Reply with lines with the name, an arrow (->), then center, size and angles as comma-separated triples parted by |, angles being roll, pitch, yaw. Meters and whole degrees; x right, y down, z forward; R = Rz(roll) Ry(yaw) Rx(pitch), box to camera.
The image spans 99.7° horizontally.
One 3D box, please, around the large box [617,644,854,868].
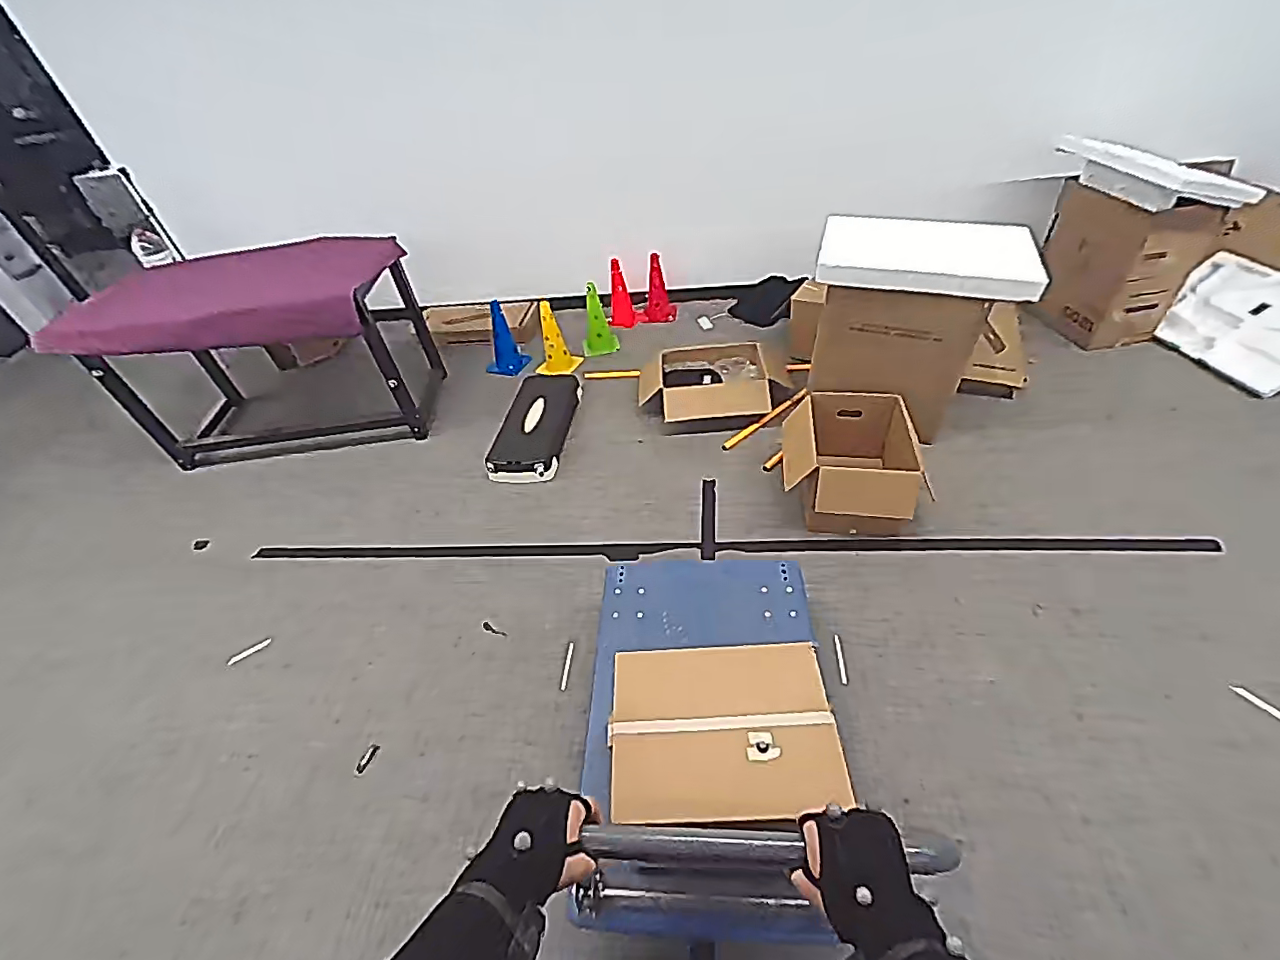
large box -> 0.165, 0.565, 1.106 | 0.408, 0.320, 0.320 | -4, 44, 2
